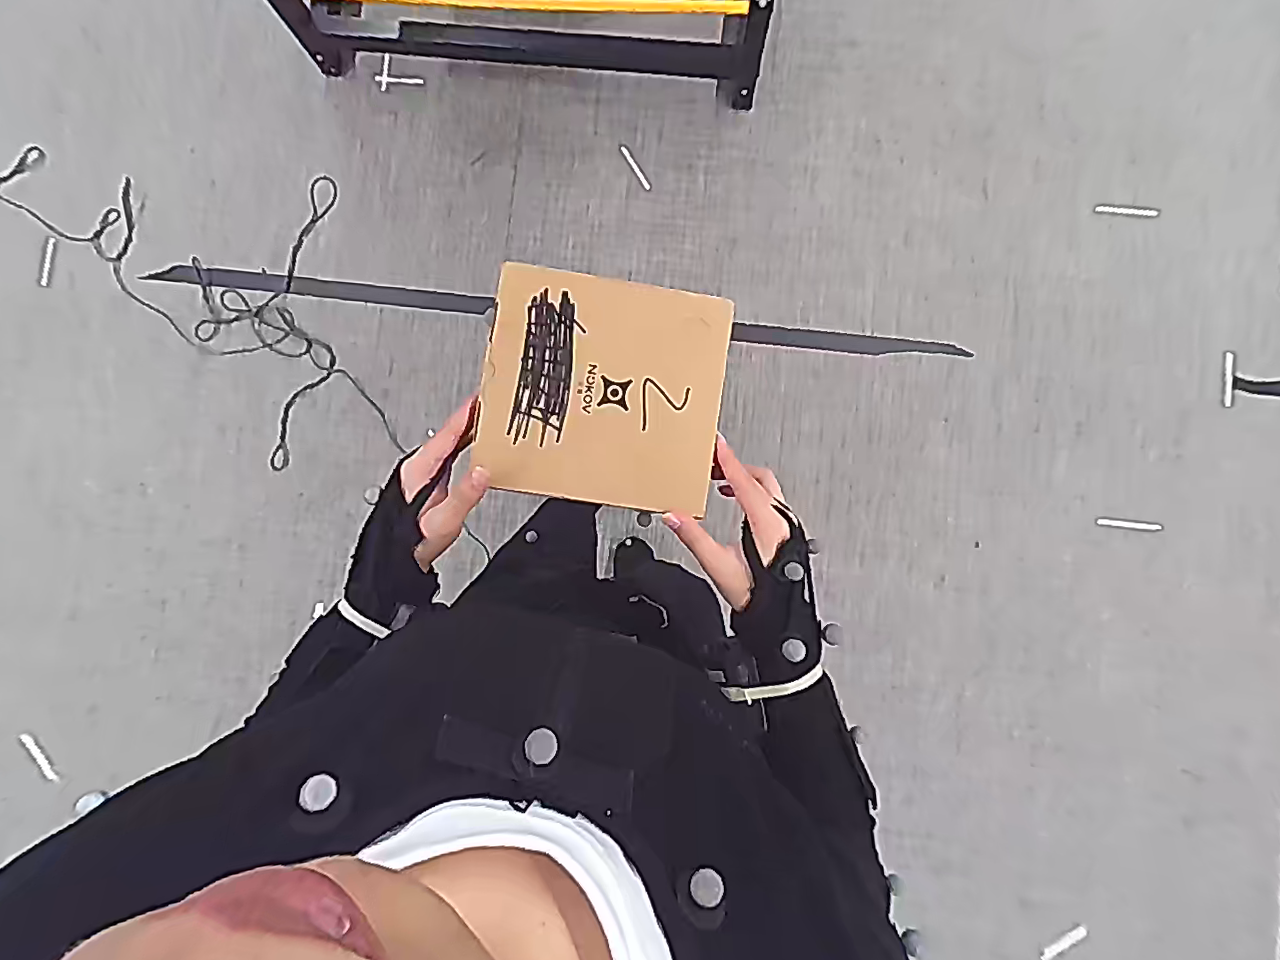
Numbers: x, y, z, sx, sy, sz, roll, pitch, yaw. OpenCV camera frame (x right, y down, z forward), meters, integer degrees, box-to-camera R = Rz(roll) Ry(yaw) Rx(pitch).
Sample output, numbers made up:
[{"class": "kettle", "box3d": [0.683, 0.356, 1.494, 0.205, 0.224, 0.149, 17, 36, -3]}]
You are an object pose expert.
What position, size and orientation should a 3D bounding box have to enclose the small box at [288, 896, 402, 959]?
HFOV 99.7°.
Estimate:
[{"class": "small box", "box3d": [-0.635, 1.055, 1.170, 0.168, 0.176, 0.179, 3, 86, 2]}]
